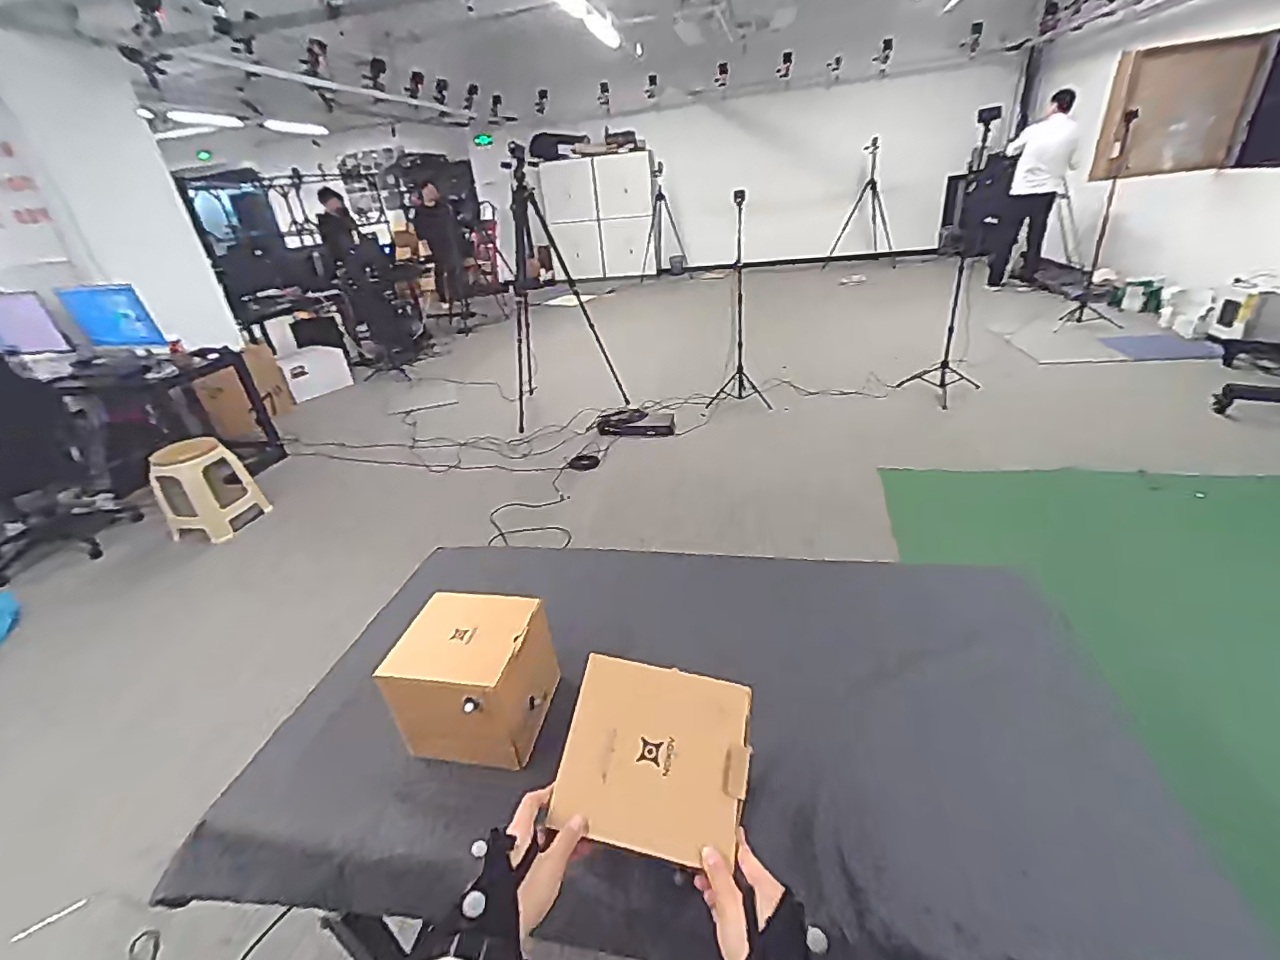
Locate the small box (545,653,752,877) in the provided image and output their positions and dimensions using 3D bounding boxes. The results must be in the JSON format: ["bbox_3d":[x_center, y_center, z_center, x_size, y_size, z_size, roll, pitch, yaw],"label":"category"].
[{"bbox_3d":[0.018,0.310,0.586,0.179,0.176,0.168,7,53,10],"label":"small box"}]

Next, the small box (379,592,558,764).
[{"bbox_3d":[-0.235,0.285,0.790,0.179,0.176,0.168,1,29,12],"label":"small box"}]
